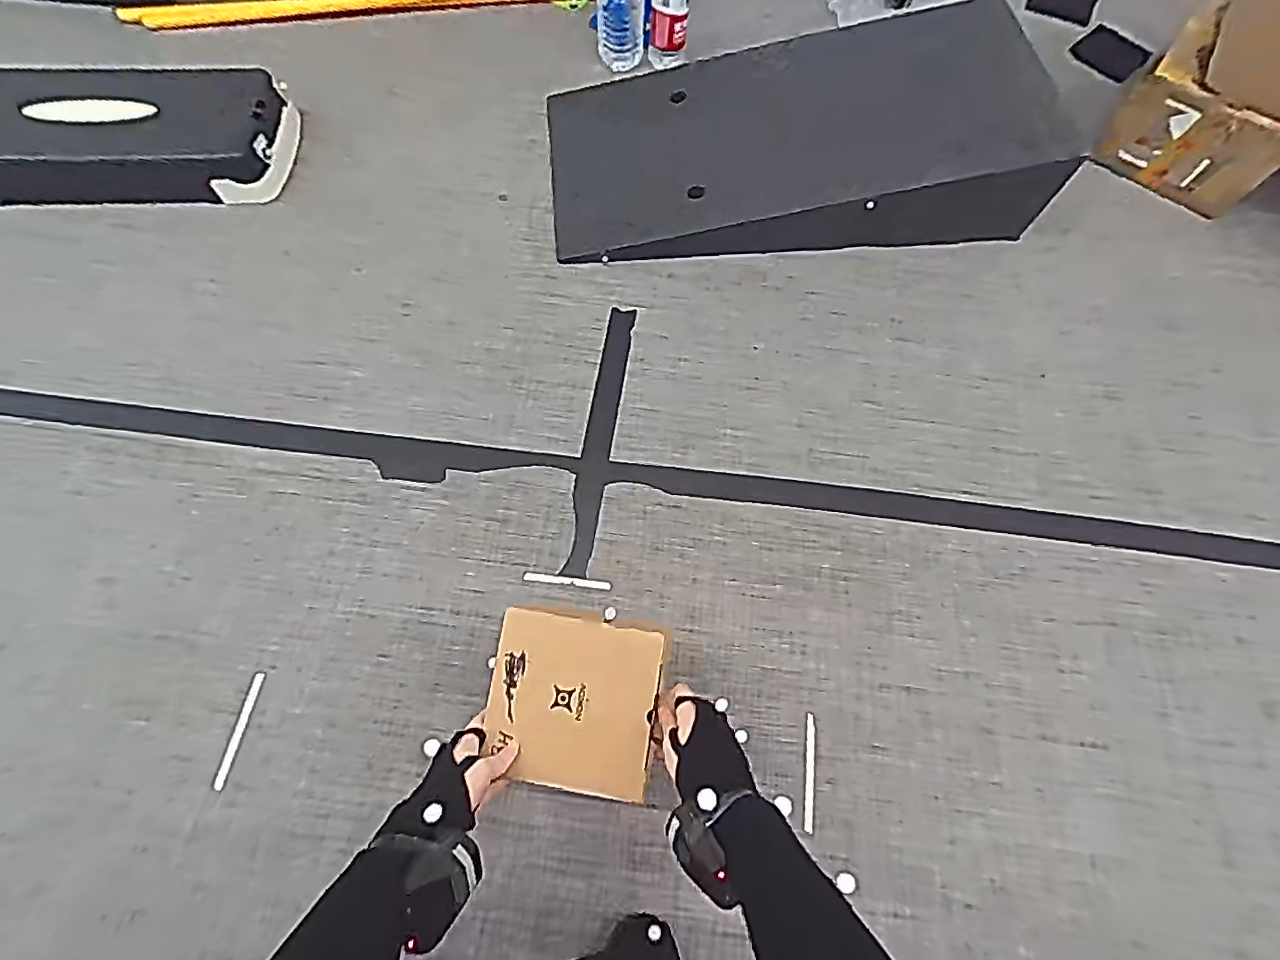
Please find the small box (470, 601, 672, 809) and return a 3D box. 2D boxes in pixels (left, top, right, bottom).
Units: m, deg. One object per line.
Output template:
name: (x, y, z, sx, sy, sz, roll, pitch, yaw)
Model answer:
small box: (-0.061, 0.232, 0.608, 0.179, 0.176, 0.168, 9, 80, 7)
